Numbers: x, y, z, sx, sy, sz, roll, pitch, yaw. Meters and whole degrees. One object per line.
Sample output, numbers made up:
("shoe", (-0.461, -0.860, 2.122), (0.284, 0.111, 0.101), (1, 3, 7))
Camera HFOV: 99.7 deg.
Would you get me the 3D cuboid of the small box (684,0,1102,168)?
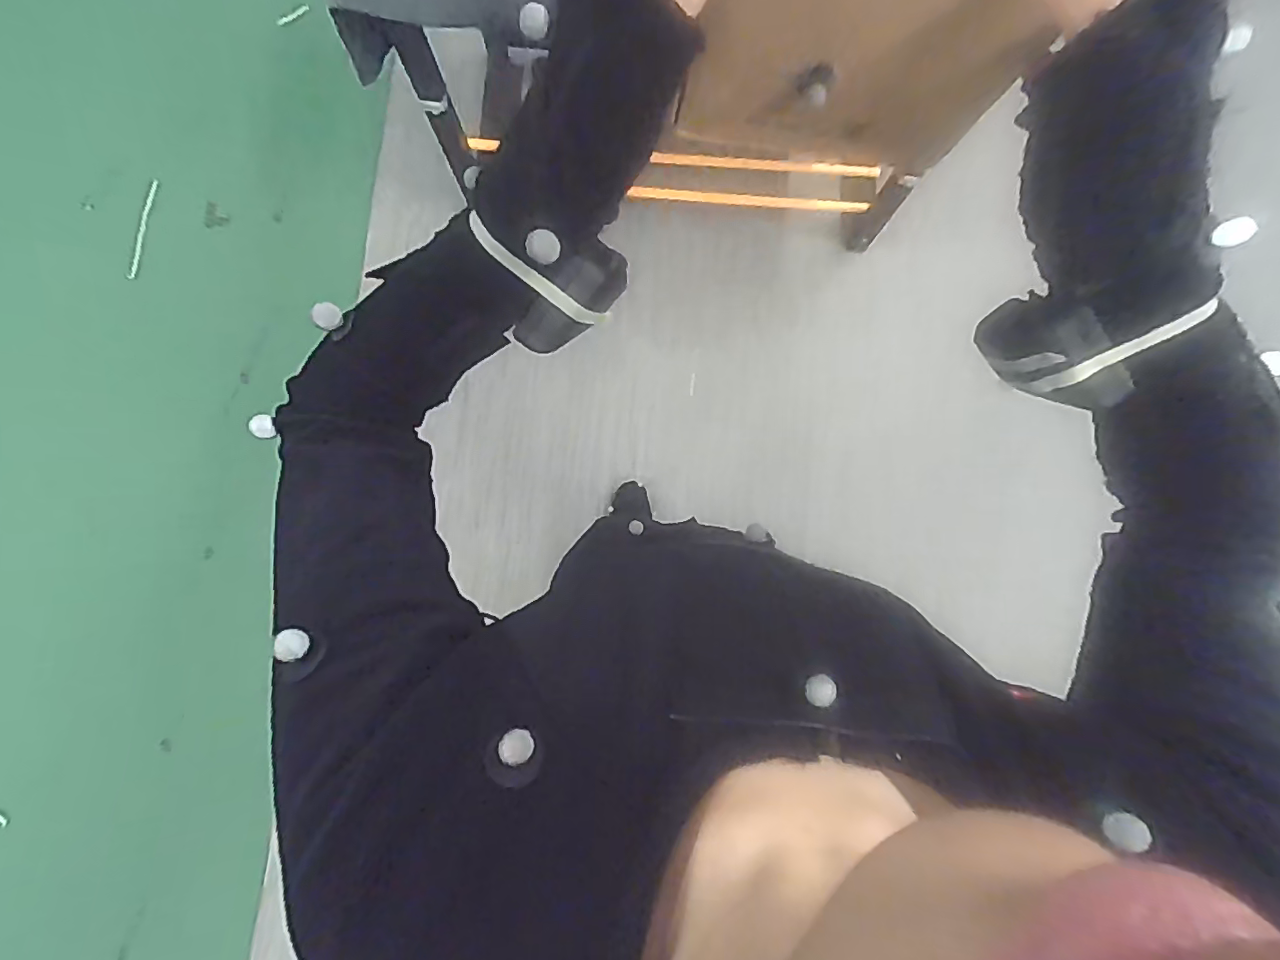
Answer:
("small box", (0.118, -0.292, 0.258), (0.168, 0.176, 0.179), (5, 88, -4))
